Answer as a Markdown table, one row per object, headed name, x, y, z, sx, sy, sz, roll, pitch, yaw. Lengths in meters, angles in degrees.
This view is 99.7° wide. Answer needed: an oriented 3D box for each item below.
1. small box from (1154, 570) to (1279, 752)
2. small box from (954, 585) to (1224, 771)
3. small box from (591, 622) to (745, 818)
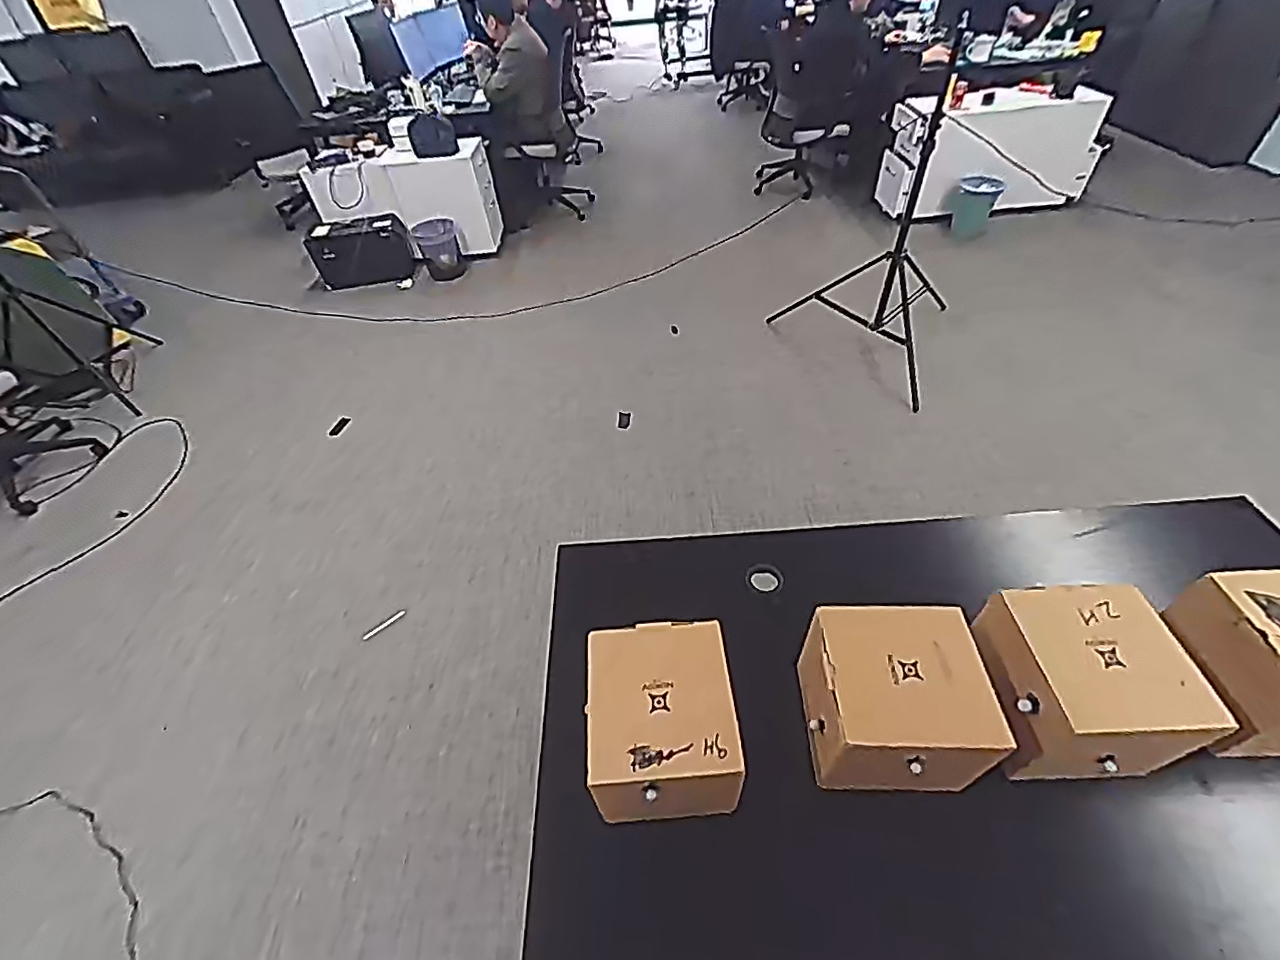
| name | x | y | z | sx | sy | sz | roll | pitch | yaw |
| --- | --- | --- | --- | --- | --- | --- | --- | --- | --- |
| small box | 0.794 | 0.228 | 0.676 | 0.179 | 0.176 | 0.168 | -2 | 46 | 3 |
| small box | 0.534 | 0.254 | 0.680 | 0.168 | 0.176 | 0.179 | -3 | 46 | 3 |
| small box | 0.031 | 0.303 | 0.684 | 0.168 | 0.176 | 0.179 | -5 | 46 | 1 |
